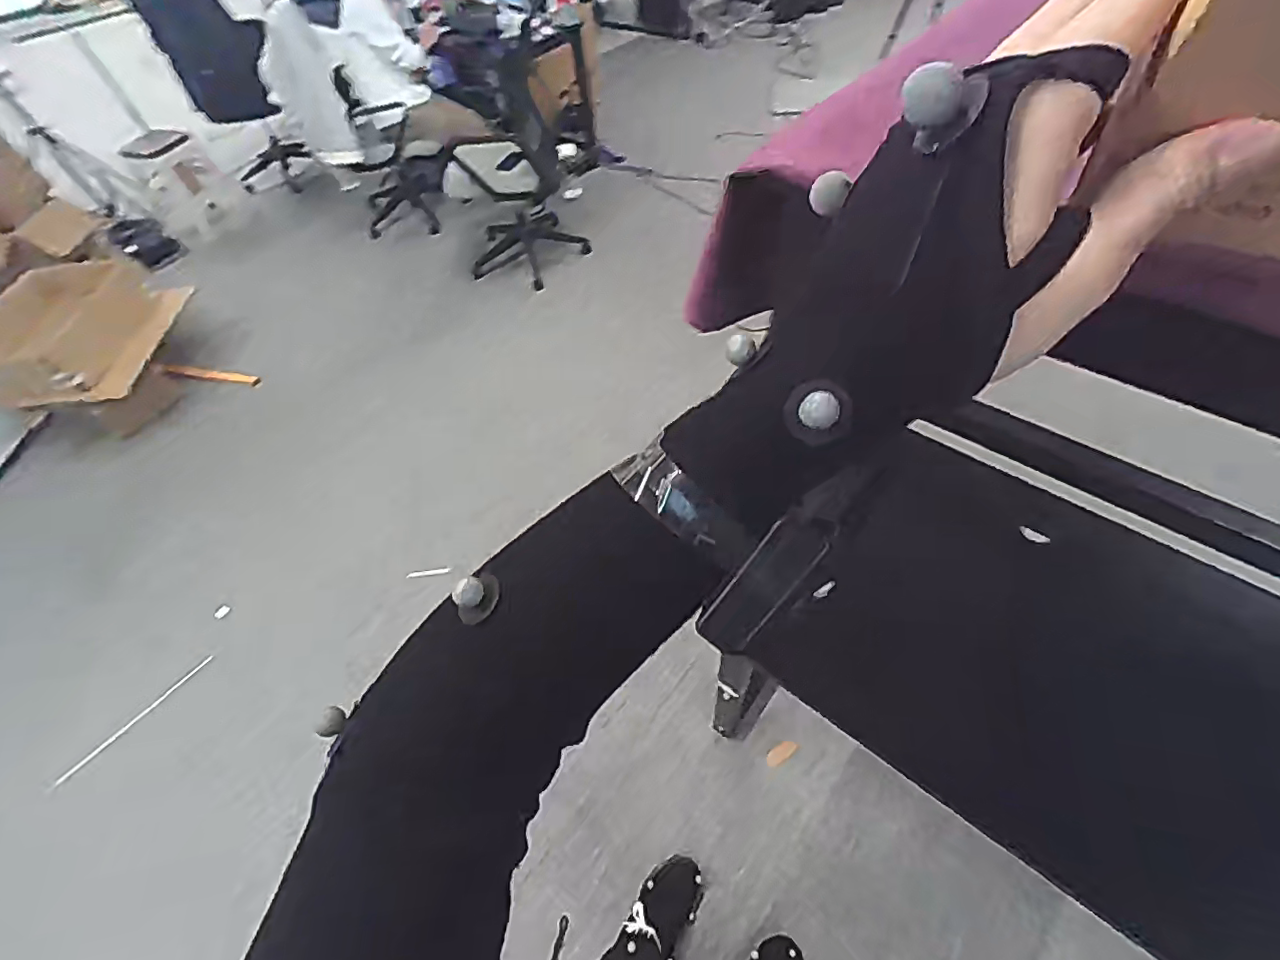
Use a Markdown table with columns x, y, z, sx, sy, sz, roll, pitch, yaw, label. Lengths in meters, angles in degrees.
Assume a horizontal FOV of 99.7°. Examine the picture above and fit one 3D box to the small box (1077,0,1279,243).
| x | y | z | sx | sy | sz | roll | pitch | yaw | label |
| --- | --- | --- | --- | --- | --- | --- | --- | --- | --- |
| 0.238 | -0.163 | 0.113 | 0.168 | 0.176 | 0.179 | 23 | 89 | 22 | small box |
